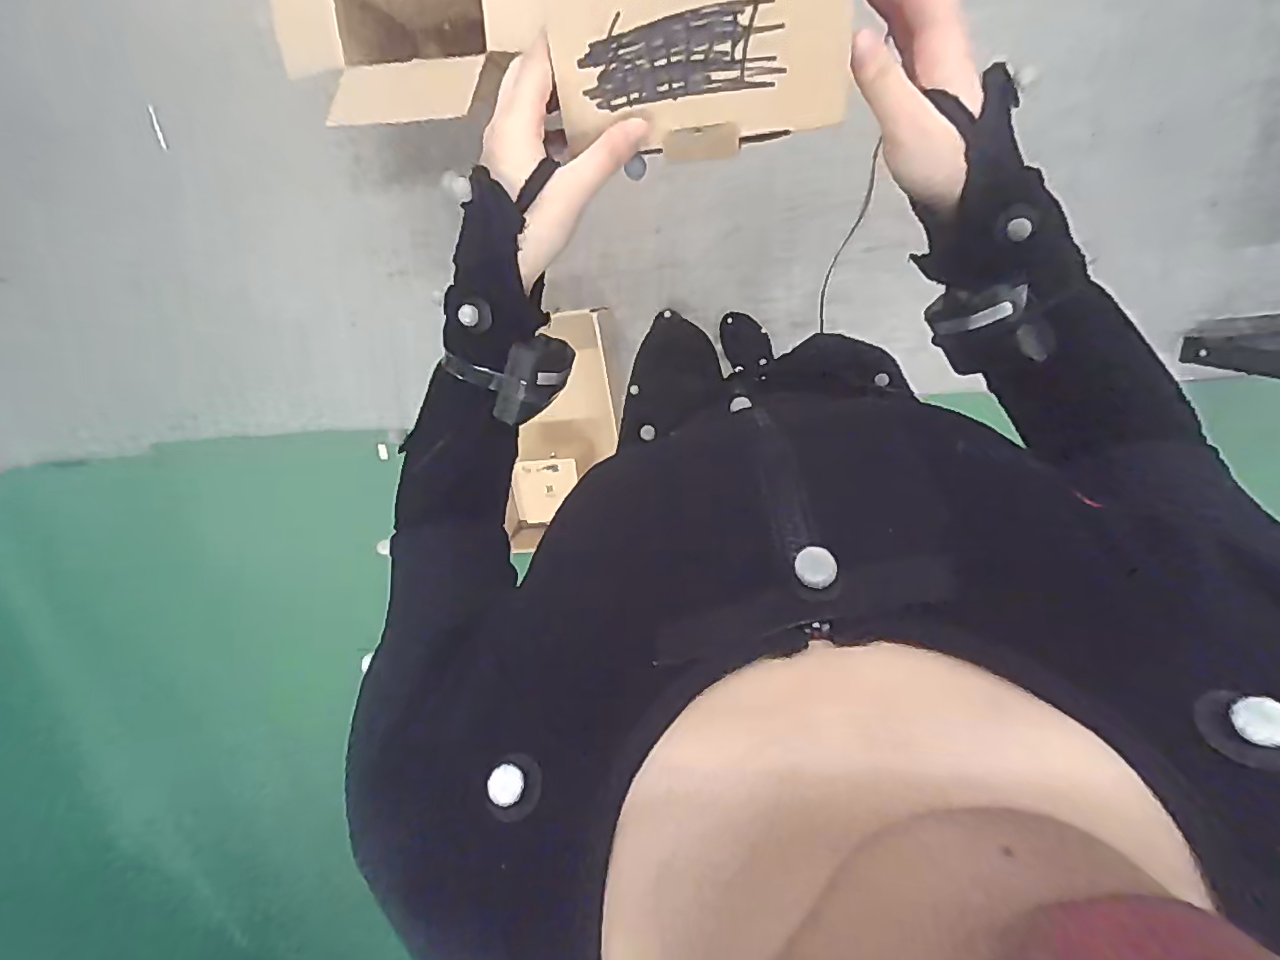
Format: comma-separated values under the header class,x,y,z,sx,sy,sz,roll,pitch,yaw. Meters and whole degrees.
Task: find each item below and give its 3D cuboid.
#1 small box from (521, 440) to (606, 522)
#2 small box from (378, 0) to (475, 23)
class,x,y,z,sx,sy,sz,roll,pitch,yaw
small box,-0.200,0.001,1.467,0.168,0.176,0.179,-3,109,15
small box,-0.429,-0.996,1.005,0.179,0.176,0.168,-4,111,14
